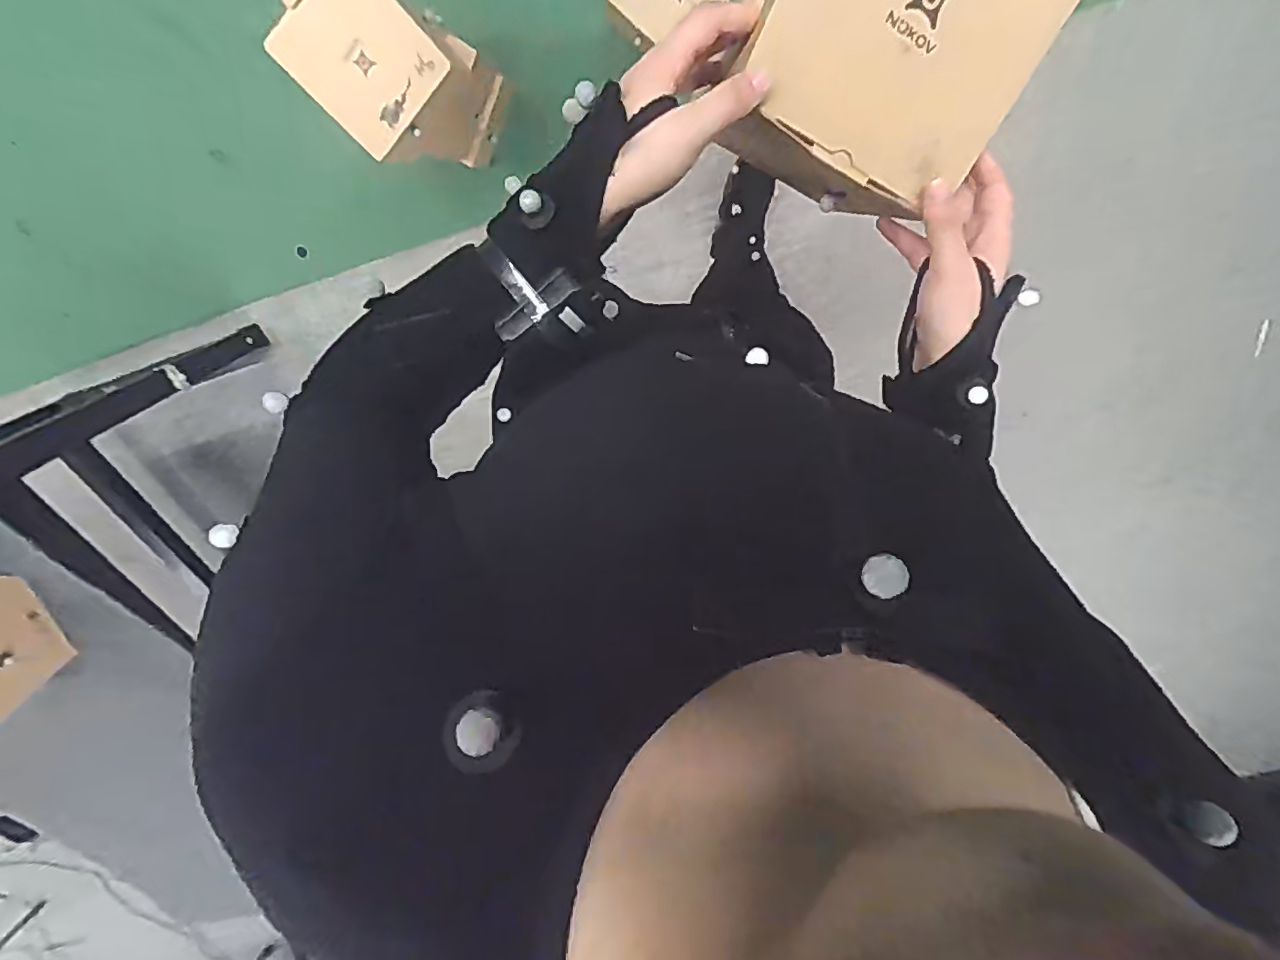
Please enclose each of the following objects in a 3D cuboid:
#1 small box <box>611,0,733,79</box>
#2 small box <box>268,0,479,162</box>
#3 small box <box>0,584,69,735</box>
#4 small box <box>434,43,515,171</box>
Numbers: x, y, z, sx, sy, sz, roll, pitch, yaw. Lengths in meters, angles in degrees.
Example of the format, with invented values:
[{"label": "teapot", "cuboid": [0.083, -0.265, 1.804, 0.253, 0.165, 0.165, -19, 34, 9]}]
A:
[{"label": "small box", "cuboid": [0.060, -0.874, 0.987, 0.179, 0.176, 0.168, 30, 115, -20]}, {"label": "small box", "cuboid": [-0.359, -0.579, 0.761, 0.168, 0.176, 0.179, -39, 115, 19]}, {"label": "small box", "cuboid": [-0.973, 0.255, 0.753, 0.179, 0.176, 0.168, 2, 121, -1]}, {"label": "small box", "cuboid": [-0.361, -0.733, 1.051, 0.179, 0.176, 0.168, 25, 115, -16]}]
